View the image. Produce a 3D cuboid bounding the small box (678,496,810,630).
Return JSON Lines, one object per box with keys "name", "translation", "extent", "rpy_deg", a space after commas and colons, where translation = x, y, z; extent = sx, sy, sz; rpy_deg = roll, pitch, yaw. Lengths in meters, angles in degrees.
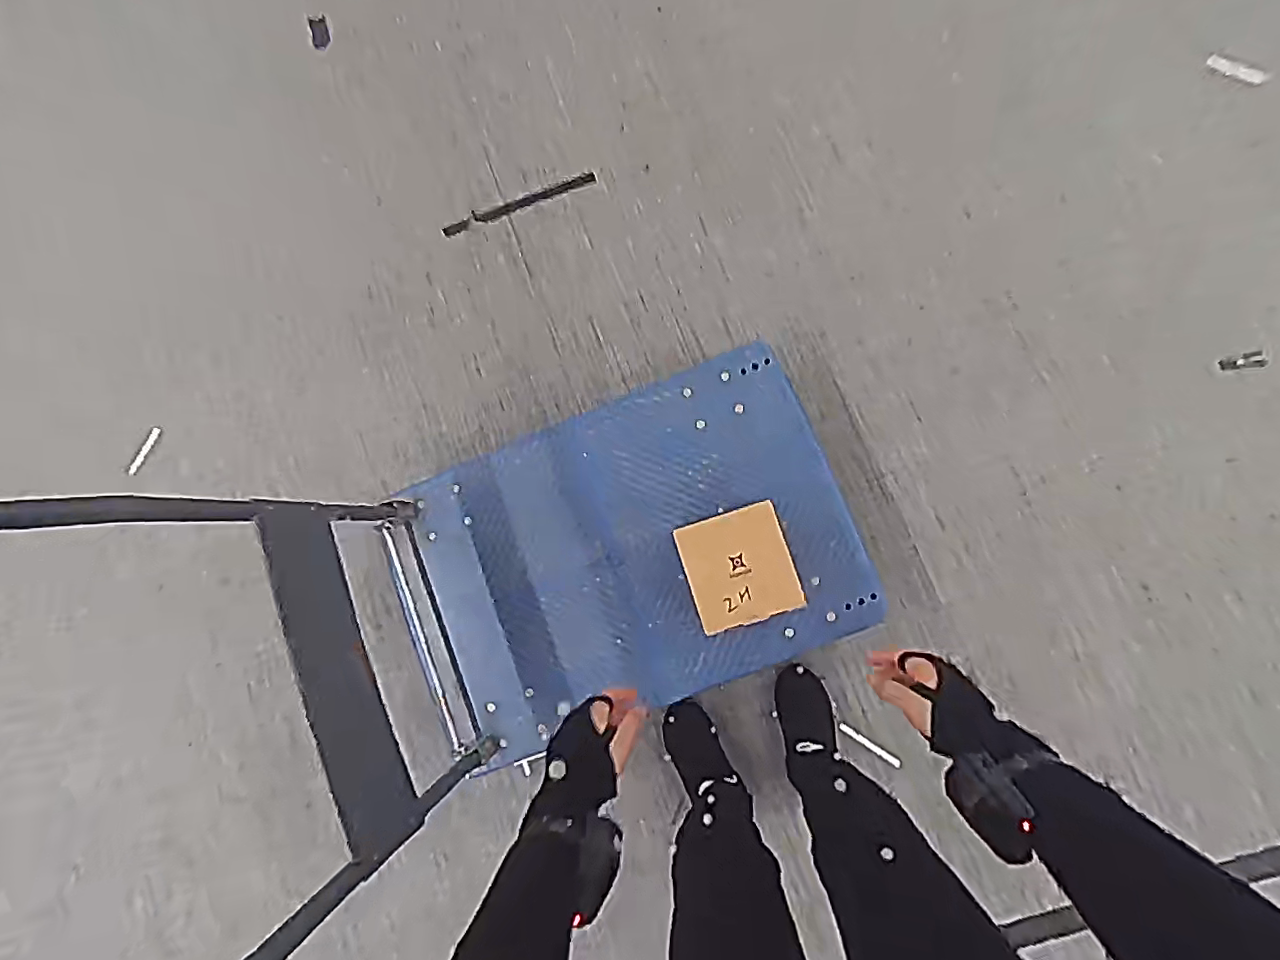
{"name": "small box", "translation": [0.169, 0.139, 0.925], "extent": [0.168, 0.176, 0.179], "rpy_deg": [-18, 82, 5]}
